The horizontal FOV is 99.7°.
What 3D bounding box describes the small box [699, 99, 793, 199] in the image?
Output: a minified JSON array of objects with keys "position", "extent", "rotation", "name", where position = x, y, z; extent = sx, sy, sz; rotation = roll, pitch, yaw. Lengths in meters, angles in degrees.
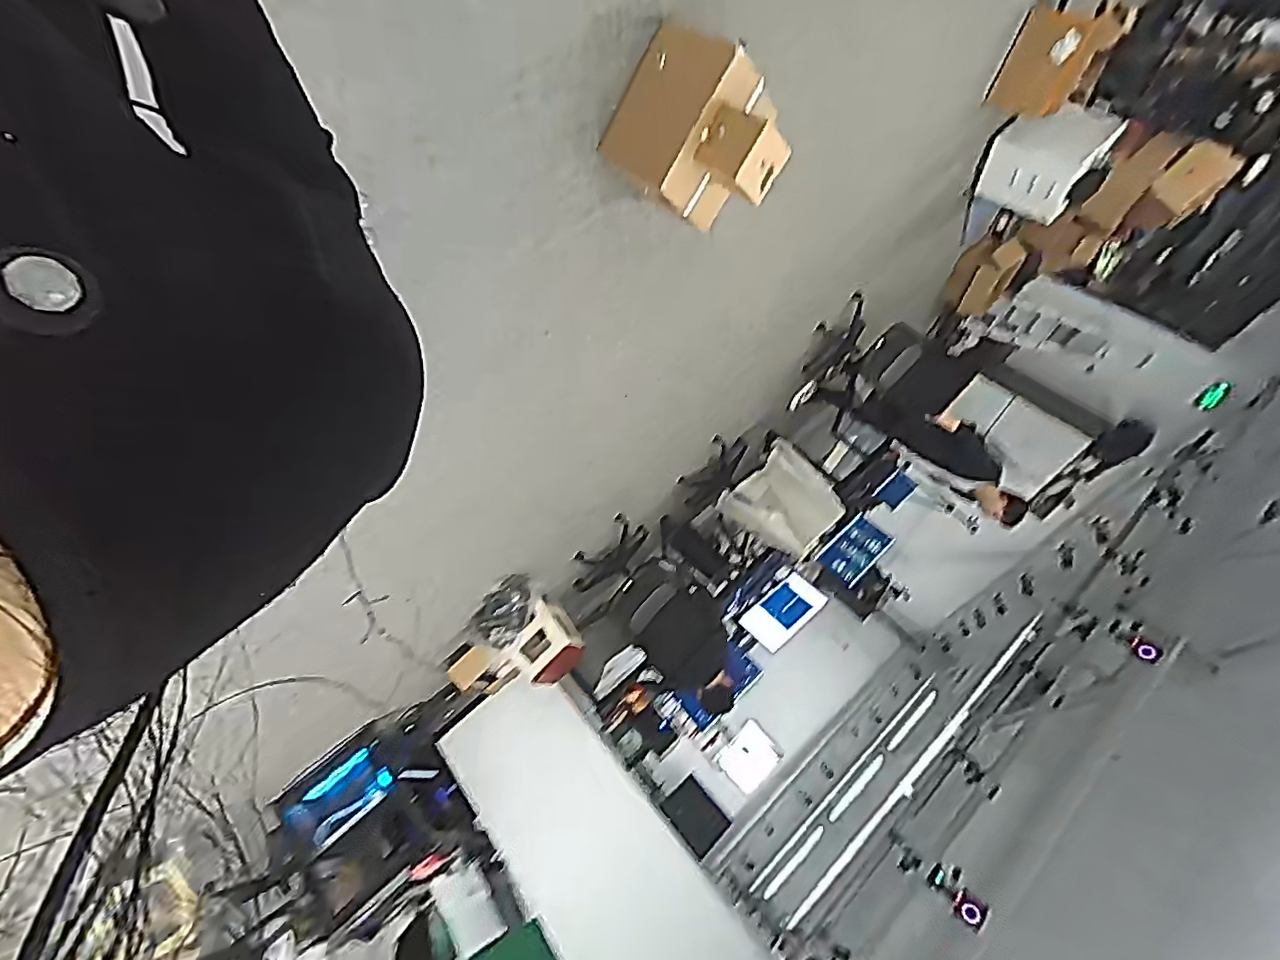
[{"position":[0.304,-0.955,1.560],"extent":[0.179,0.176,0.168],"rotation":[2,127,-55],"name":"small box"}]
